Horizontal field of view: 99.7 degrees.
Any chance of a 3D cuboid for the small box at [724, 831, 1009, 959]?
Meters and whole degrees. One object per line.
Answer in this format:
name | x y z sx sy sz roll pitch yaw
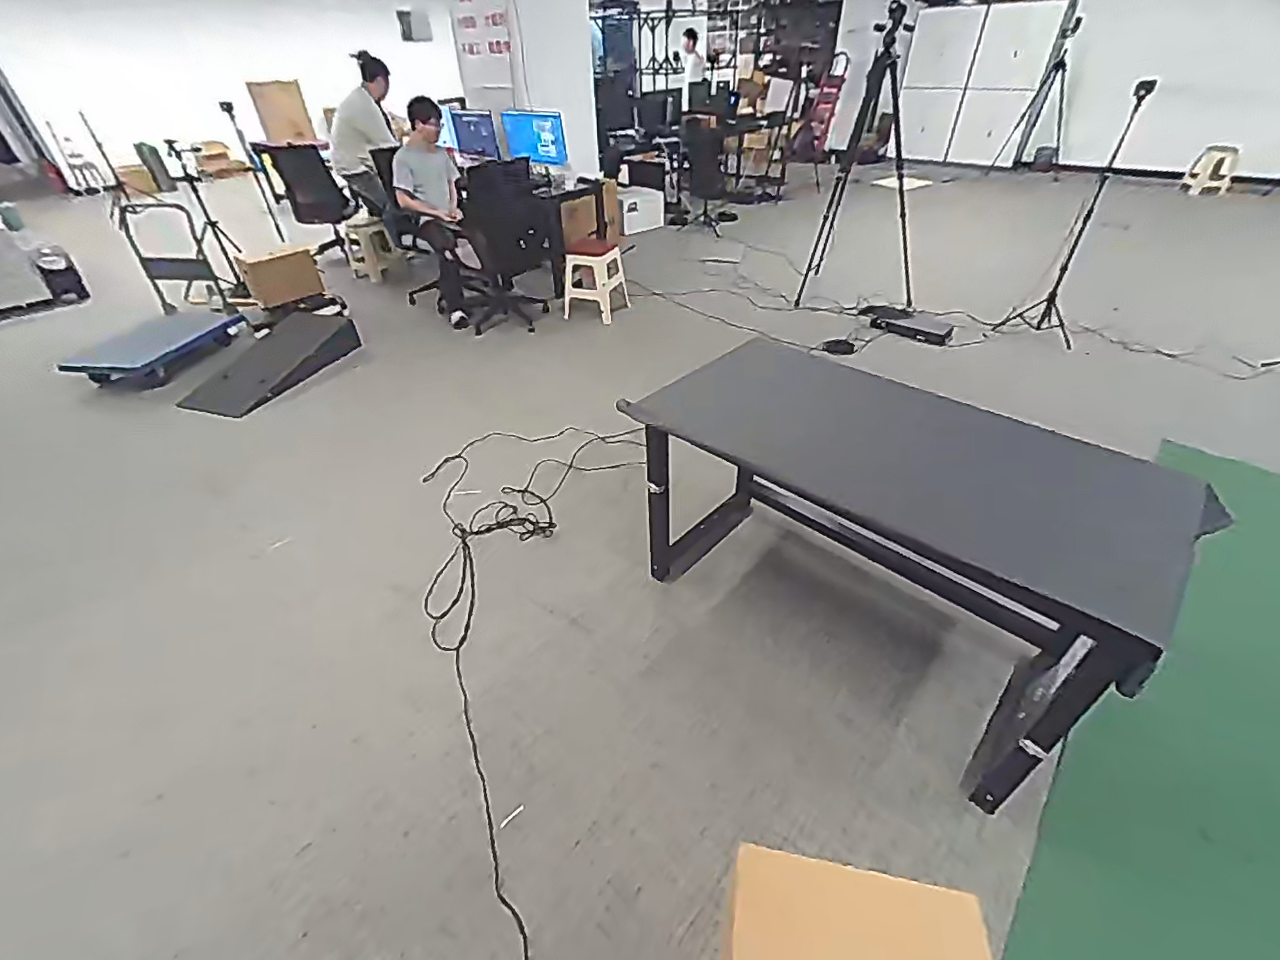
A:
small box | 0.142 0.385 0.368 0.168 0.176 0.179 8 38 10
